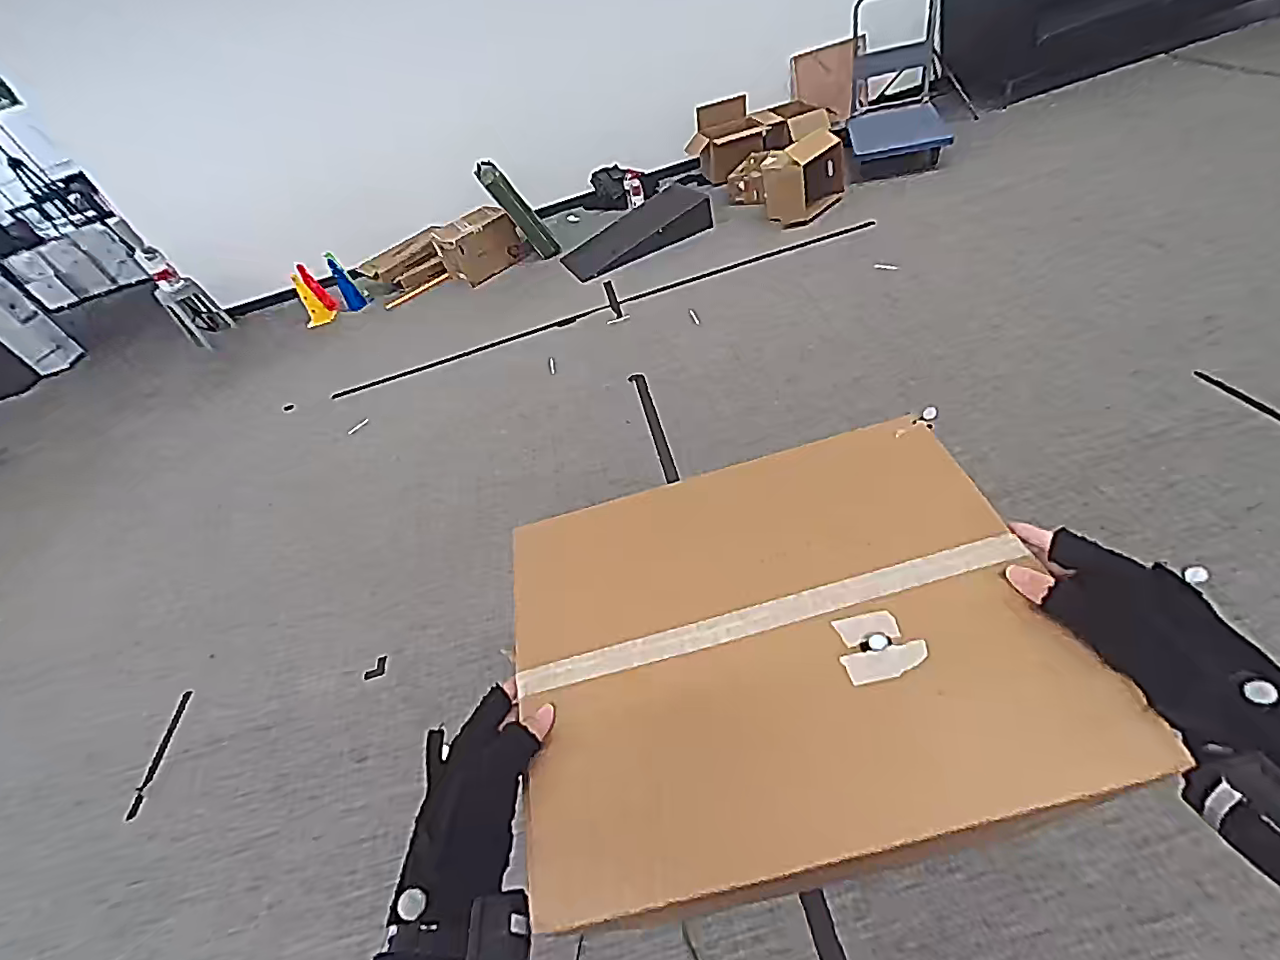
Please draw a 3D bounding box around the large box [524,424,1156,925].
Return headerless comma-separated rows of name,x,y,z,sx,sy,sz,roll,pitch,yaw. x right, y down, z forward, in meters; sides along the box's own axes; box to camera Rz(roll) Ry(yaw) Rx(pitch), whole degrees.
large box,0.132,0.205,0.547,0.408,0.320,0.320,-16,50,2
